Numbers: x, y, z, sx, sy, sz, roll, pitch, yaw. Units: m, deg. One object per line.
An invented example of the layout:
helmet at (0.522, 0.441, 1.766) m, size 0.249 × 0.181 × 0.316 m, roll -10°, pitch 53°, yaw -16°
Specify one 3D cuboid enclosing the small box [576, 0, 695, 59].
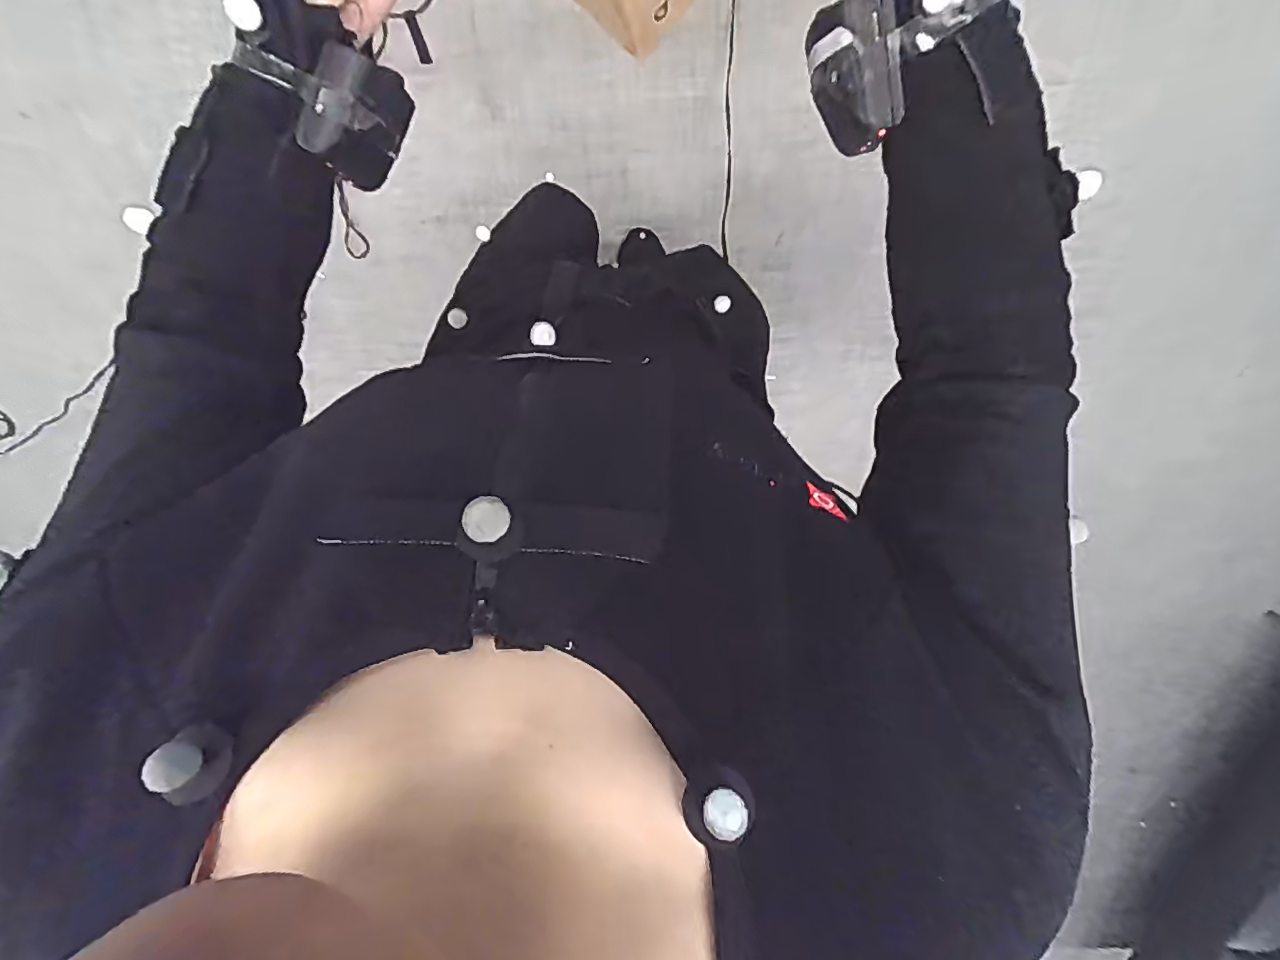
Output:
small box at (-0.014, -0.335, 0.203) m, size 0.176 × 0.168 × 0.179 m, roll 43°, pitch 103°, yaw 0°
